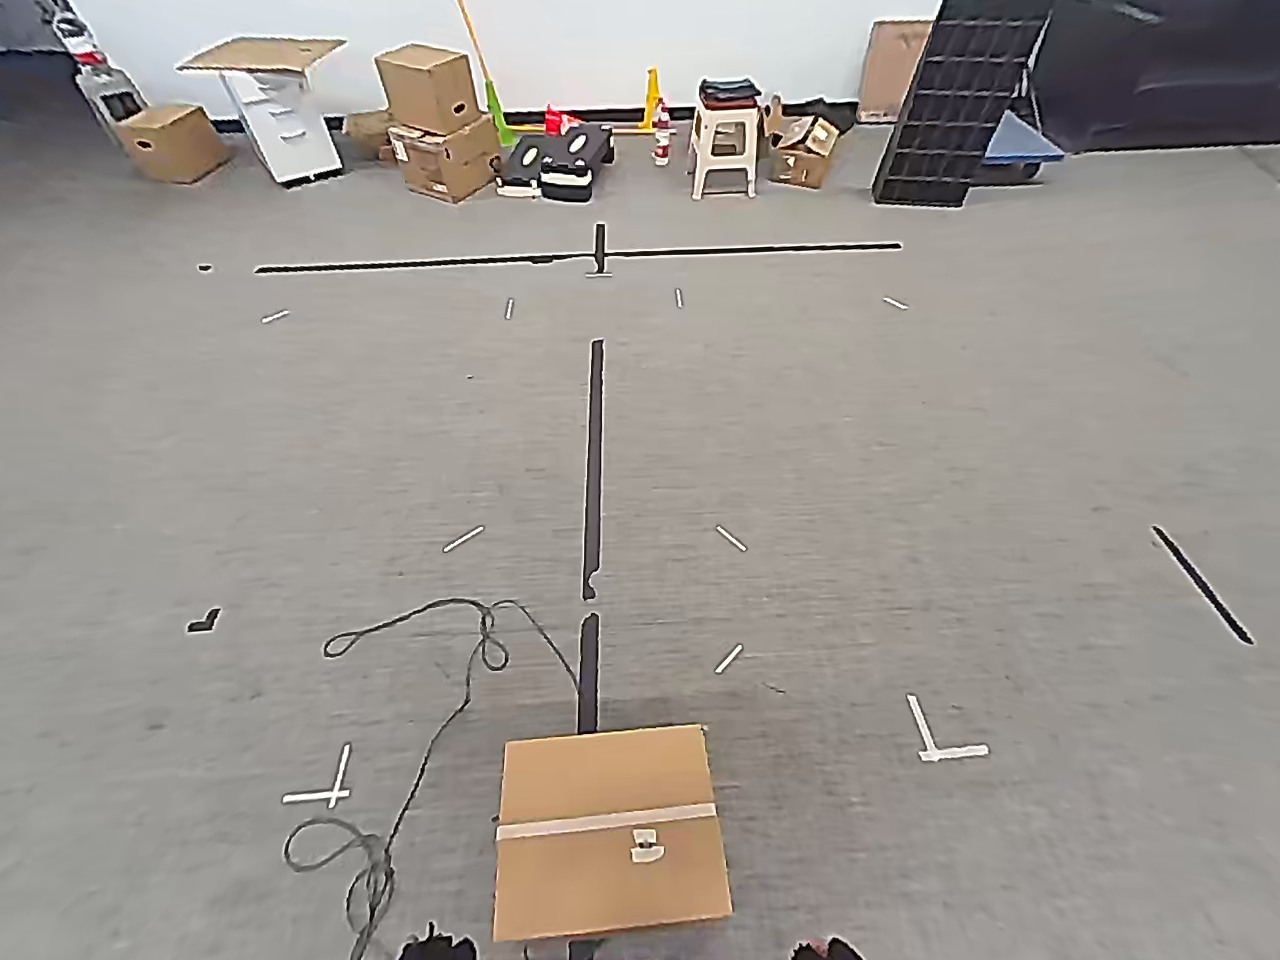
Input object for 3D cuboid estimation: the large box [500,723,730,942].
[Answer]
[{"bbox_3d":[-0.056,0.735,1.127,0.408,0.320,0.320,-4,49,-3],"label":"large box"}]
